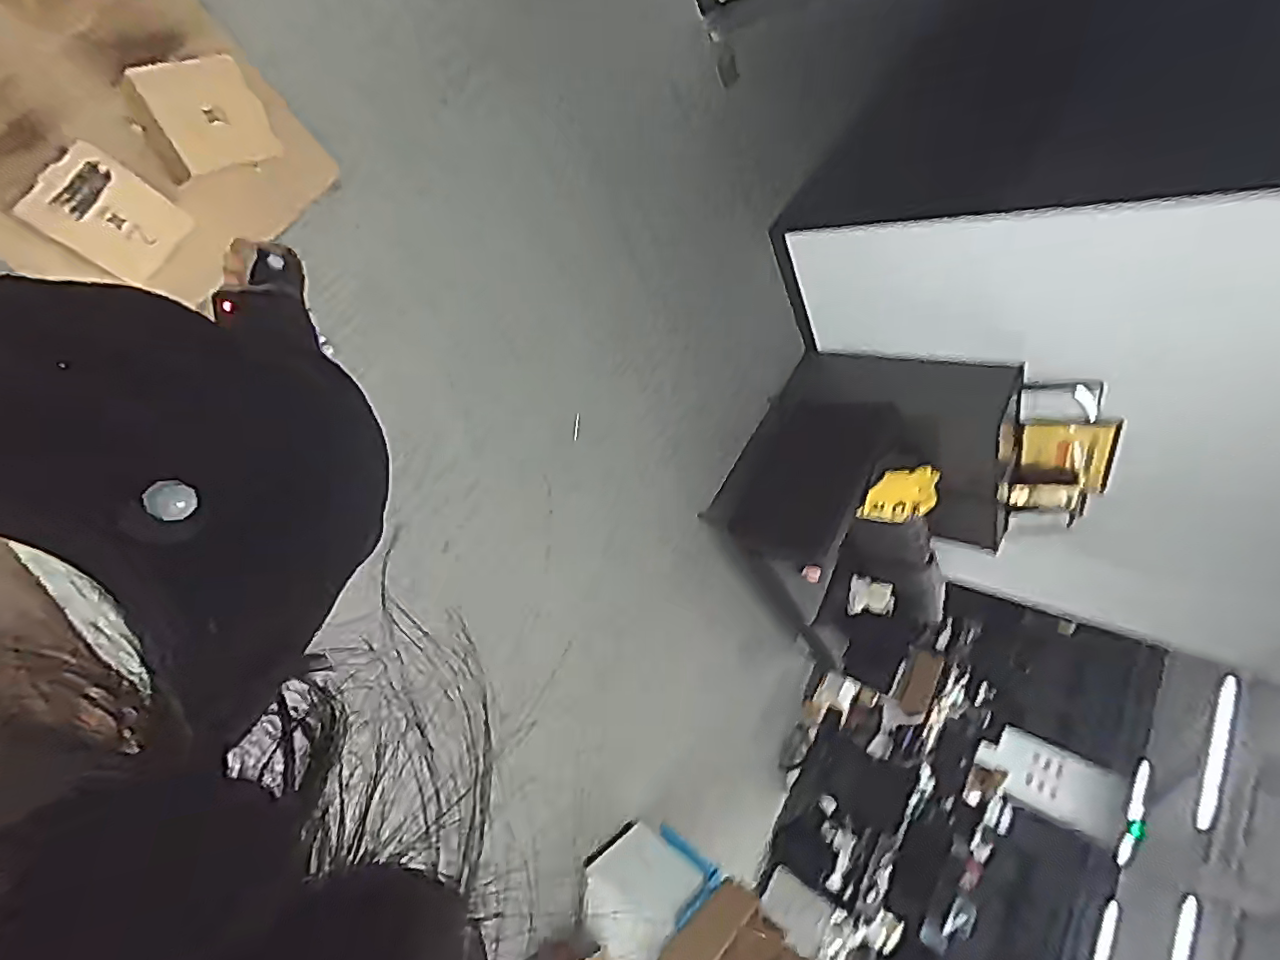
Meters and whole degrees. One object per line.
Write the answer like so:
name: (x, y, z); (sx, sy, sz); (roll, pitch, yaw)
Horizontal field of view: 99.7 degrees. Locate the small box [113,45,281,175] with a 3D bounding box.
small box: (-0.839, -0.697, 1.027); (0.179, 0.176, 0.168); (-42, 132, -33)
